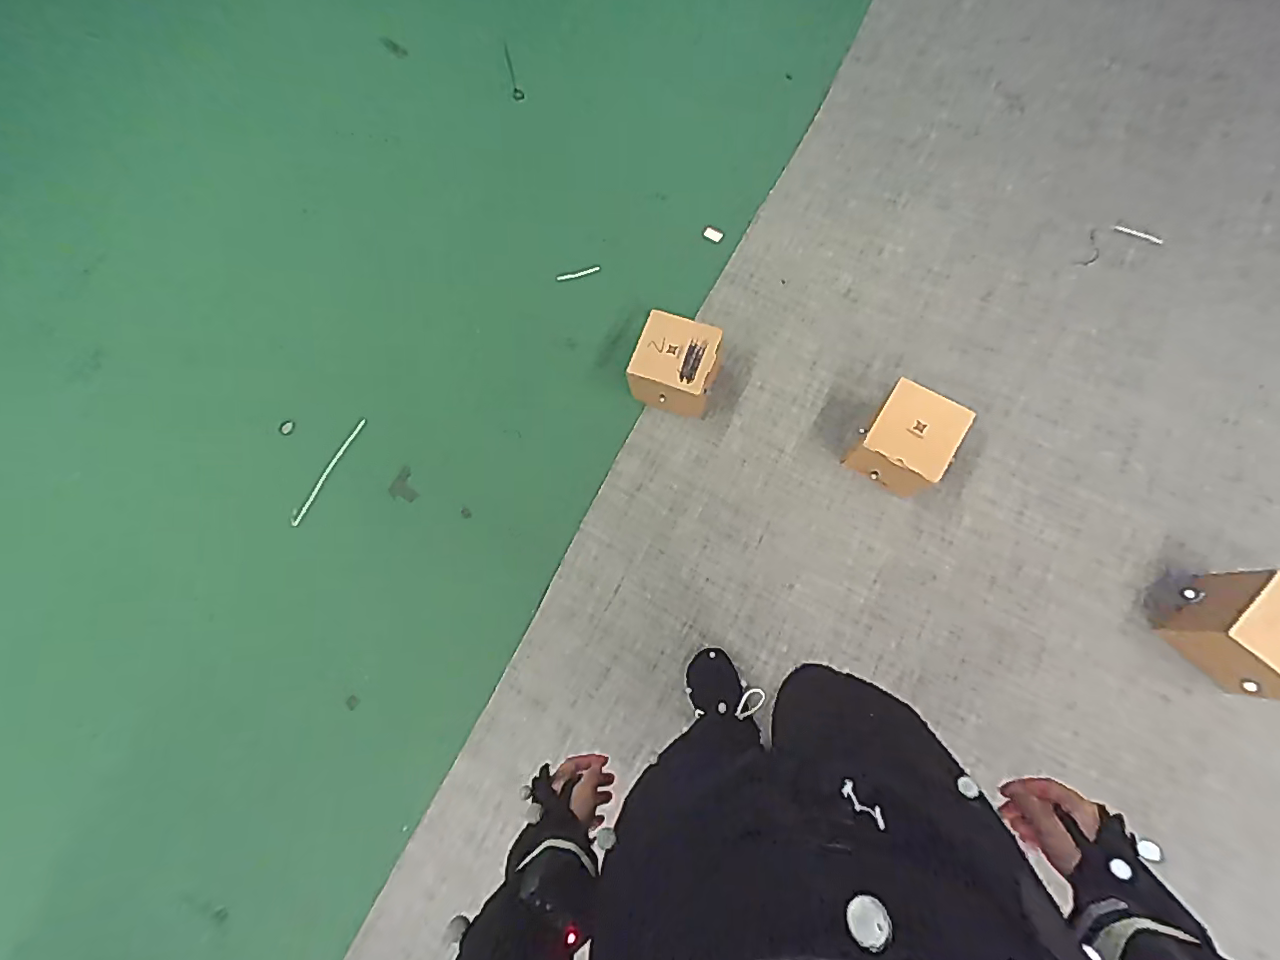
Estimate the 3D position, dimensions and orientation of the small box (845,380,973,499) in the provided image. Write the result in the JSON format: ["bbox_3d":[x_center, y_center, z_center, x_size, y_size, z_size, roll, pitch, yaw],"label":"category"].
[{"bbox_3d":[0.577,-0.081,1.186,0.168,0.176,0.179,31,82,12],"label":"small box"}]

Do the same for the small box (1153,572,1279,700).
[{"bbox_3d":[1.171,0.298,1.036,0.168,0.176,0.179,-45,76,-7],"label":"small box"}]
